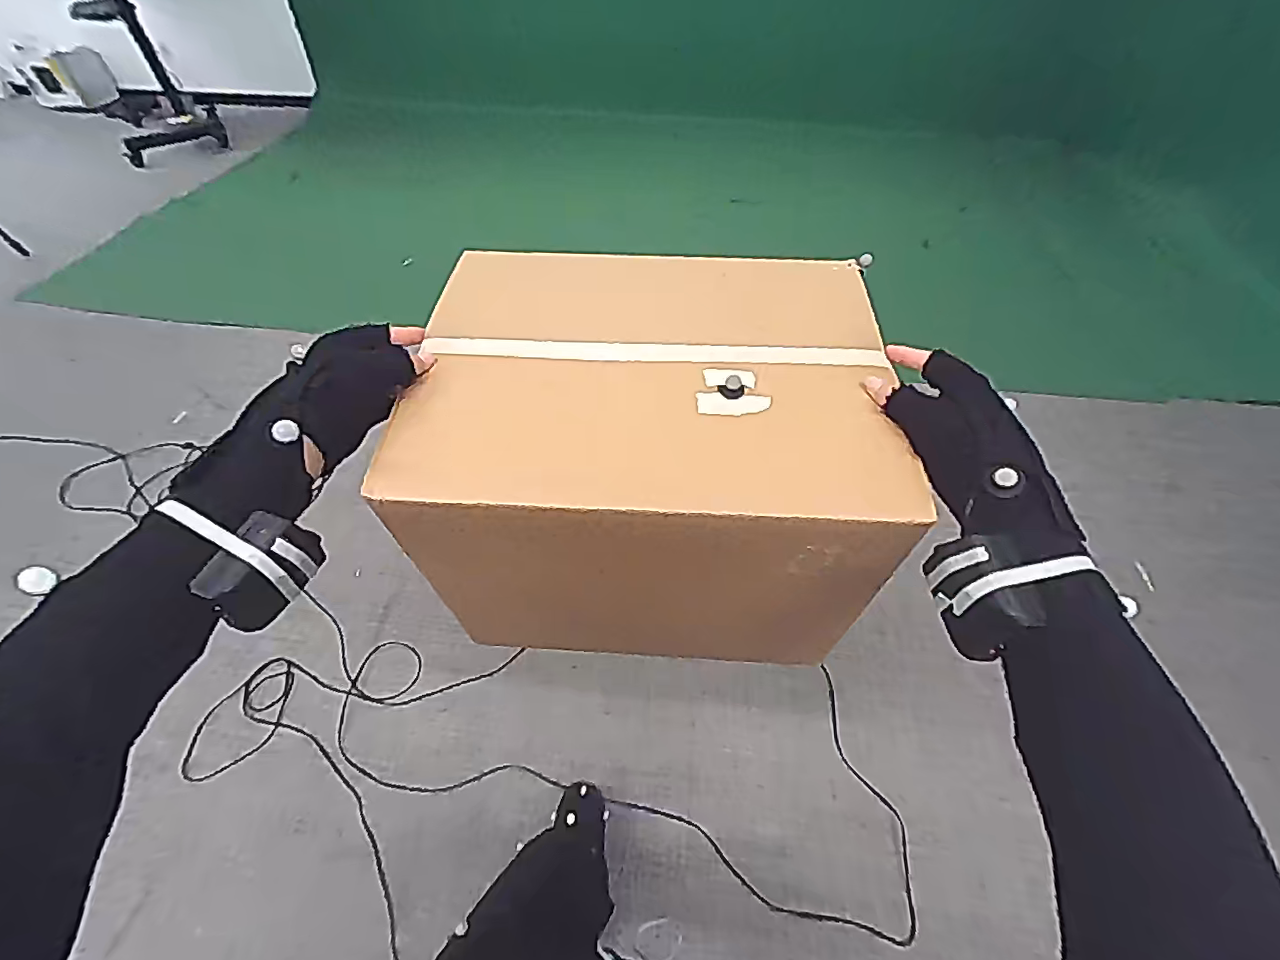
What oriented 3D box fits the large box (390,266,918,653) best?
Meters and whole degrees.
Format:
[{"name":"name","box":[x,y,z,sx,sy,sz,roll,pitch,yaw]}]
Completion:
[{"name":"large box","box":[0.013,-0.013,0.606,0.408,0.320,0.320,3,54,2]}]
